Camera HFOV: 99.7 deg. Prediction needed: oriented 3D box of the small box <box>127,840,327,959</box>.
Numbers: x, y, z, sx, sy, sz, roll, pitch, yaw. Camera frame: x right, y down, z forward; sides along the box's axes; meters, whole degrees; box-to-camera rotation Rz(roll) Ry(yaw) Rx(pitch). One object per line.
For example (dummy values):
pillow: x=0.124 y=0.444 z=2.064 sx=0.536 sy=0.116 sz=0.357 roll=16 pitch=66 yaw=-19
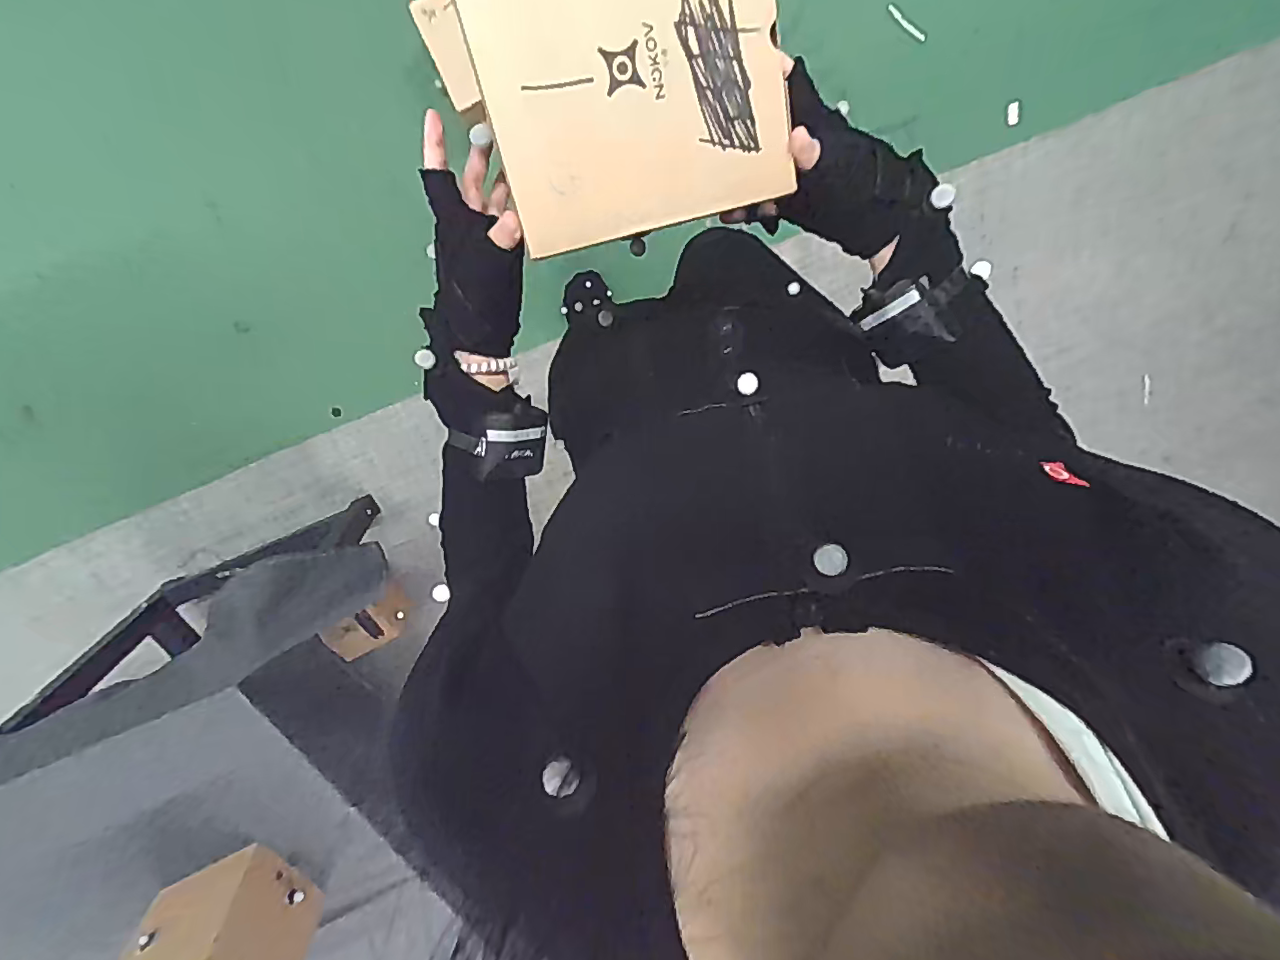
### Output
small box: x=-0.614 y=0.690 z=0.806 sx=0.179 sy=0.176 sz=0.168 roll=-26 pitch=115 yaw=0

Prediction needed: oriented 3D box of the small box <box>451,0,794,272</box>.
small box: x=-0.016 y=-0.253 z=0.375 sx=0.179 sy=0.176 sz=0.168 roll=-16 pitch=115 yaw=-3

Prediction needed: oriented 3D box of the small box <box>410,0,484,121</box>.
small box: x=-0.314 y=-0.831 z=1.055 sx=0.168 sy=0.176 sz=0.179 roll=-24 pitch=115 yaw=-1
